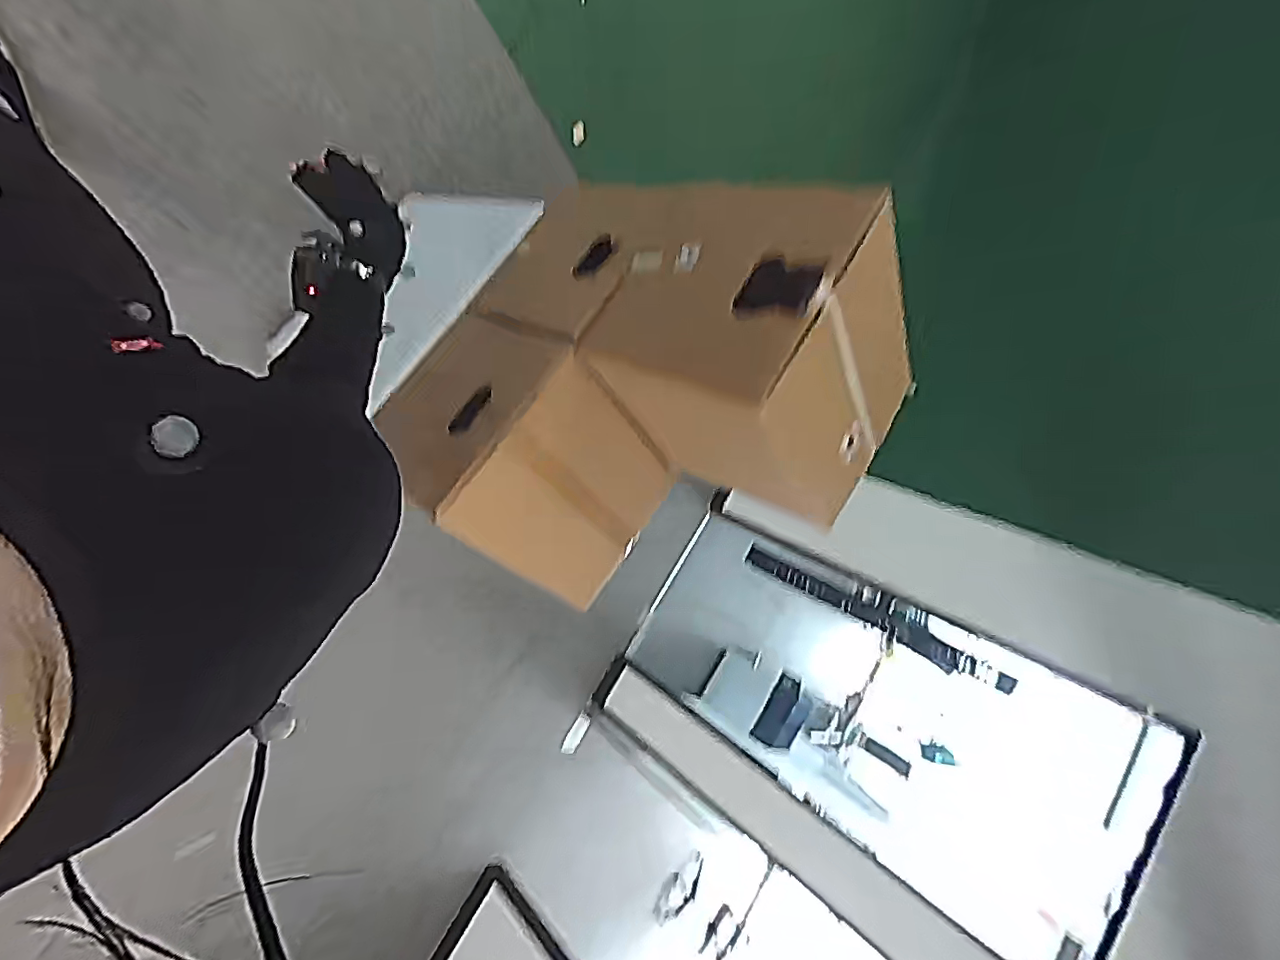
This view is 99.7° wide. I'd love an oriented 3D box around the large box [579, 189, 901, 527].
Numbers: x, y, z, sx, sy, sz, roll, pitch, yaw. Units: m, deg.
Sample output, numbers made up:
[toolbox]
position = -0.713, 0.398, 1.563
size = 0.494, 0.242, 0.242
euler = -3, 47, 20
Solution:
[large box]
position = 0.180, -0.178, 0.848
size = 0.320, 0.320, 0.408
euler = -58, 144, -8
